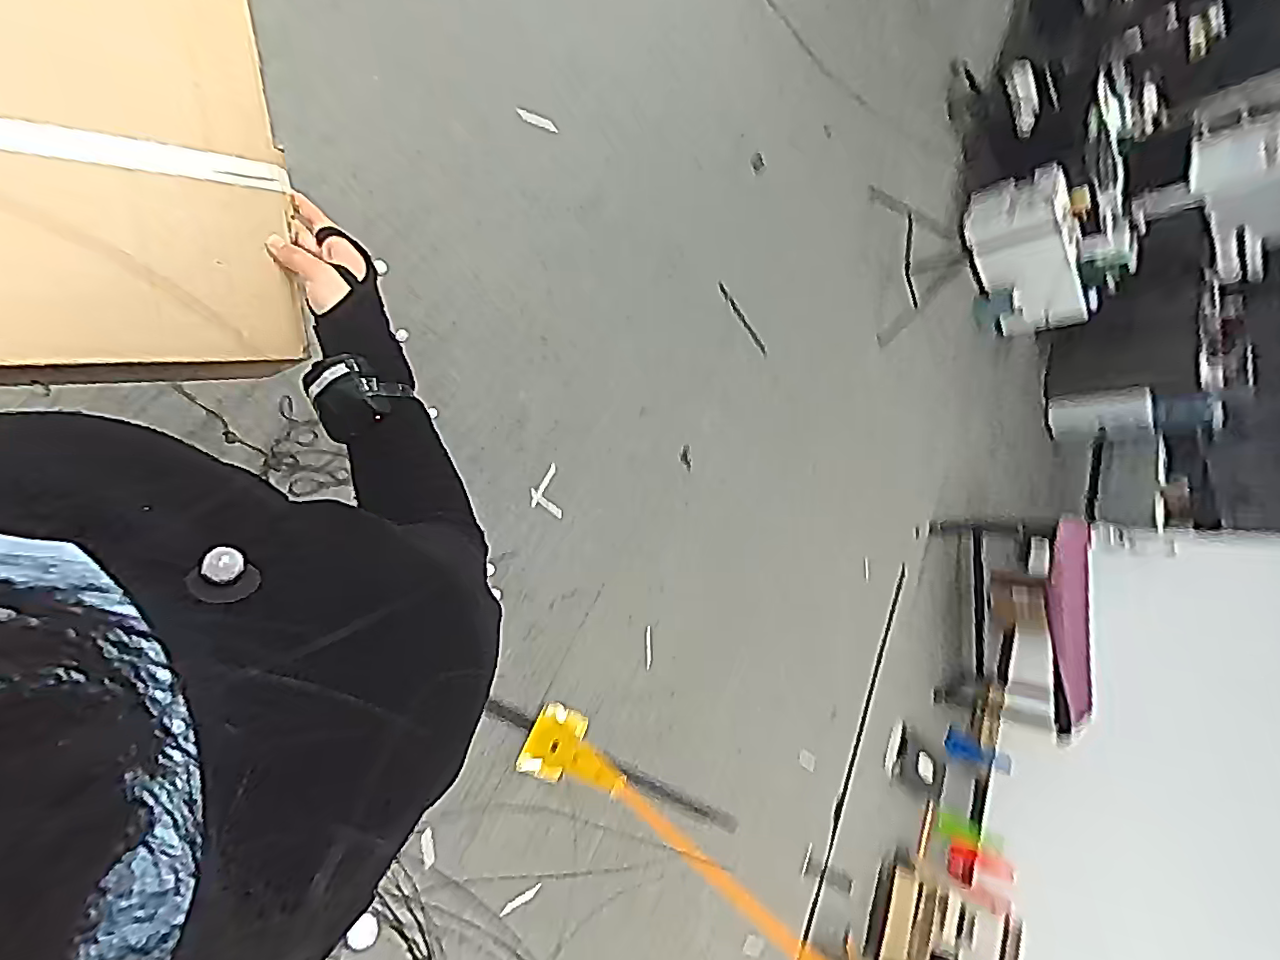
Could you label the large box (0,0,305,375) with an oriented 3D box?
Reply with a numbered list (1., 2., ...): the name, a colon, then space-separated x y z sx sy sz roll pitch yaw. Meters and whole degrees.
1. large box: -0.577 -0.256 0.484 0.408 0.320 0.320 -11 102 -39
